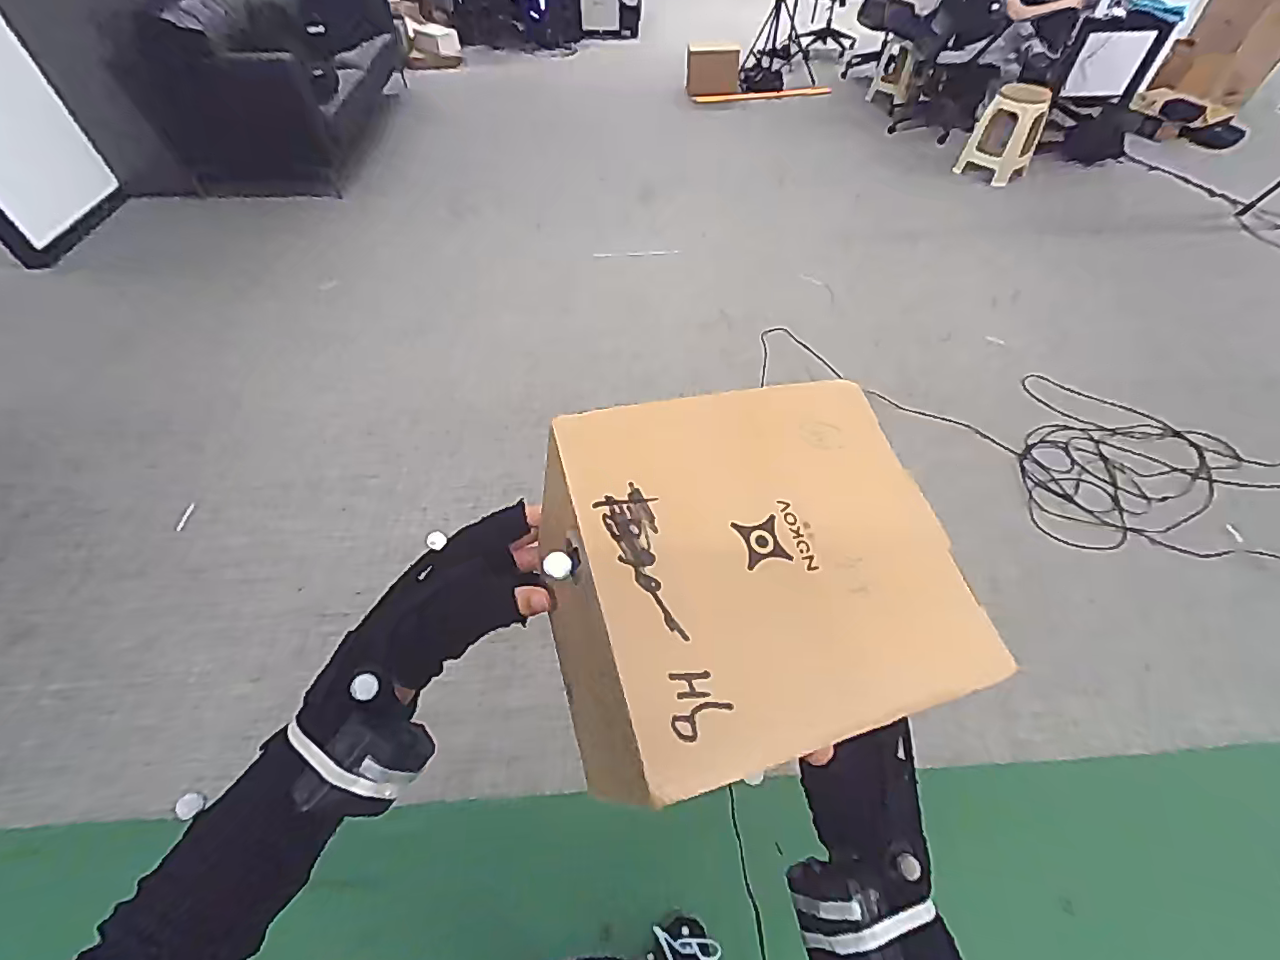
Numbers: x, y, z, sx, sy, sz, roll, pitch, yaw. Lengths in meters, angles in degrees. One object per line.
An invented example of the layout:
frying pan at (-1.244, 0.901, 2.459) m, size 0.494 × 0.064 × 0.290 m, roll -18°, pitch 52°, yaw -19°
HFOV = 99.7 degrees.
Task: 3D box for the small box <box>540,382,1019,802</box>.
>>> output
small box at (0.048, 0.065, 0.311) m, size 0.179 × 0.176 × 0.168 m, roll -9°, pitch 63°, yaw -19°
